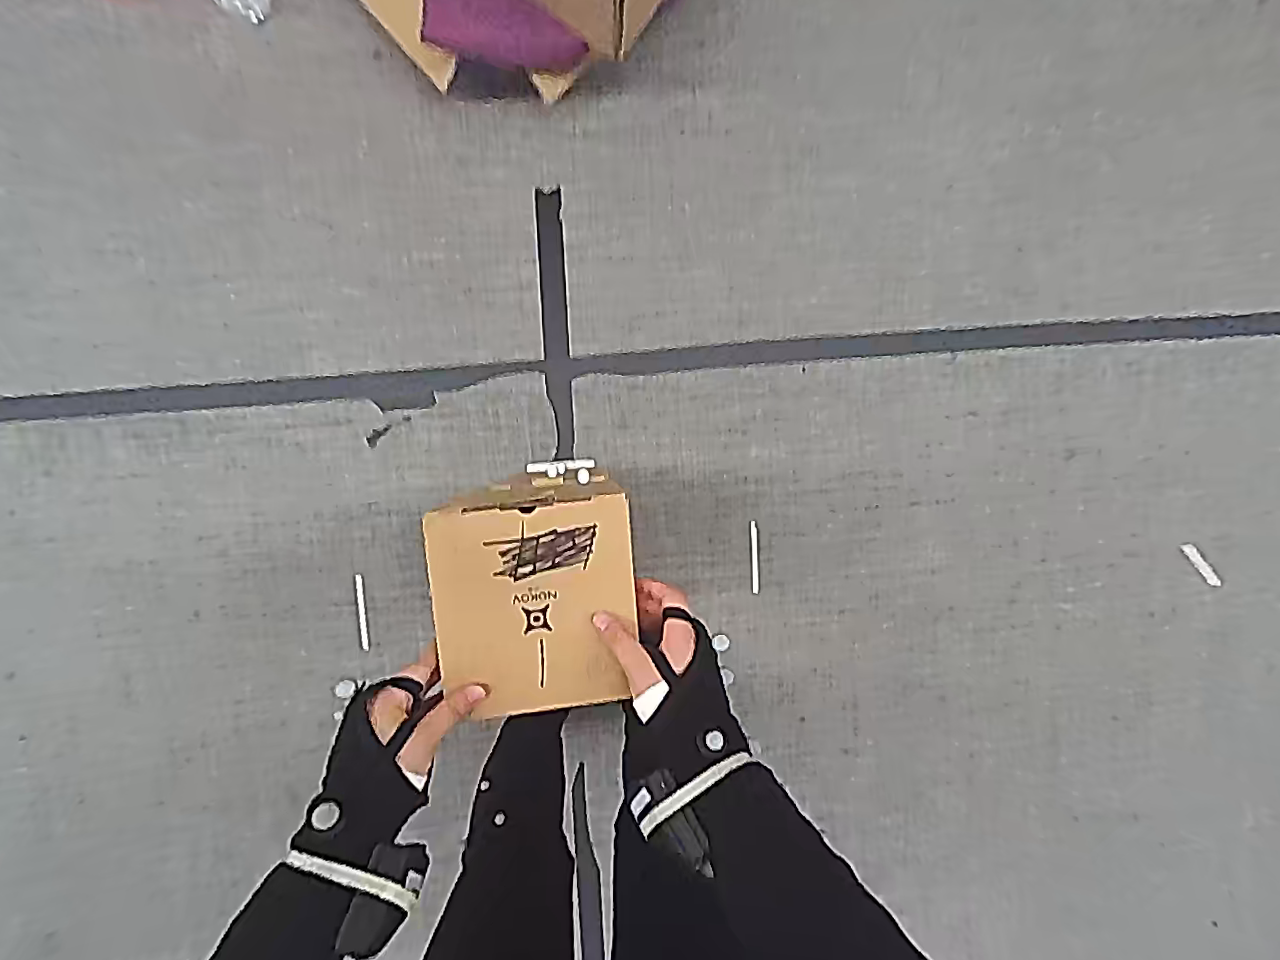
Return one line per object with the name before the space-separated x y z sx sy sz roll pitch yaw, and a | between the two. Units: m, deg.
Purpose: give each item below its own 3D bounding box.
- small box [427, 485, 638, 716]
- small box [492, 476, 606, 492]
small box | -0.099 0.099 0.532 0.168 0.176 0.179 -5 95 -7
small box | -0.130 0.086 0.851 0.168 0.176 0.179 -6 93 -4
